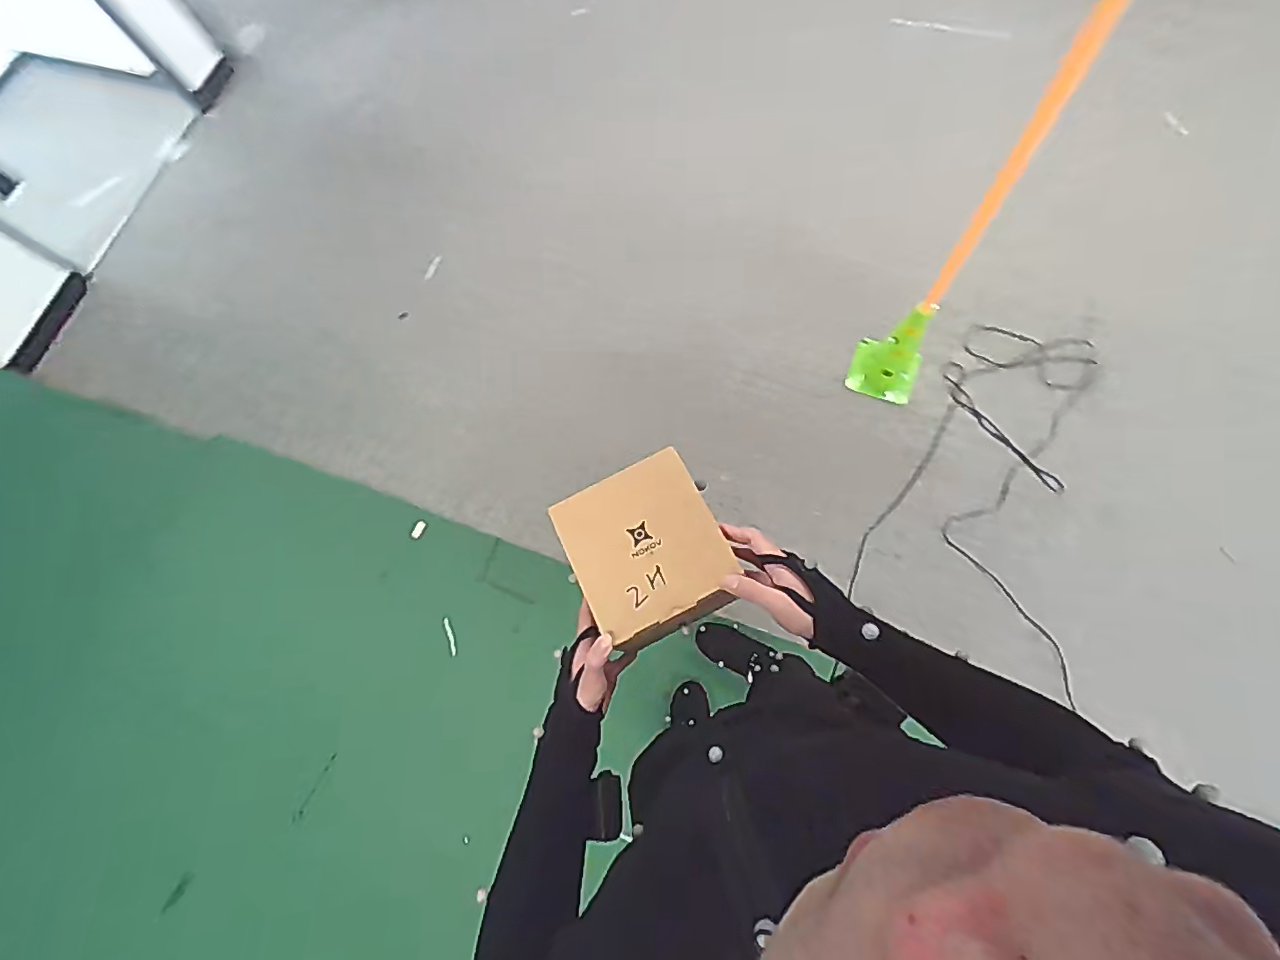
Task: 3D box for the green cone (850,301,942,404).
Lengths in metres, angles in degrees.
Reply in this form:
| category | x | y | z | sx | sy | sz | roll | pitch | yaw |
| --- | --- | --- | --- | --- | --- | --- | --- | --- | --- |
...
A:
| category | x | y | z | sx | sy | sz | roll | pitch | yaw |
| --- | --- | --- | --- | --- | --- | --- | --- | --- | --- |
| green cone | 0.788 | -0.404 | 1.597 | 0.202 | 0.368 | 0.200 | 19 | 77 | 10 |
